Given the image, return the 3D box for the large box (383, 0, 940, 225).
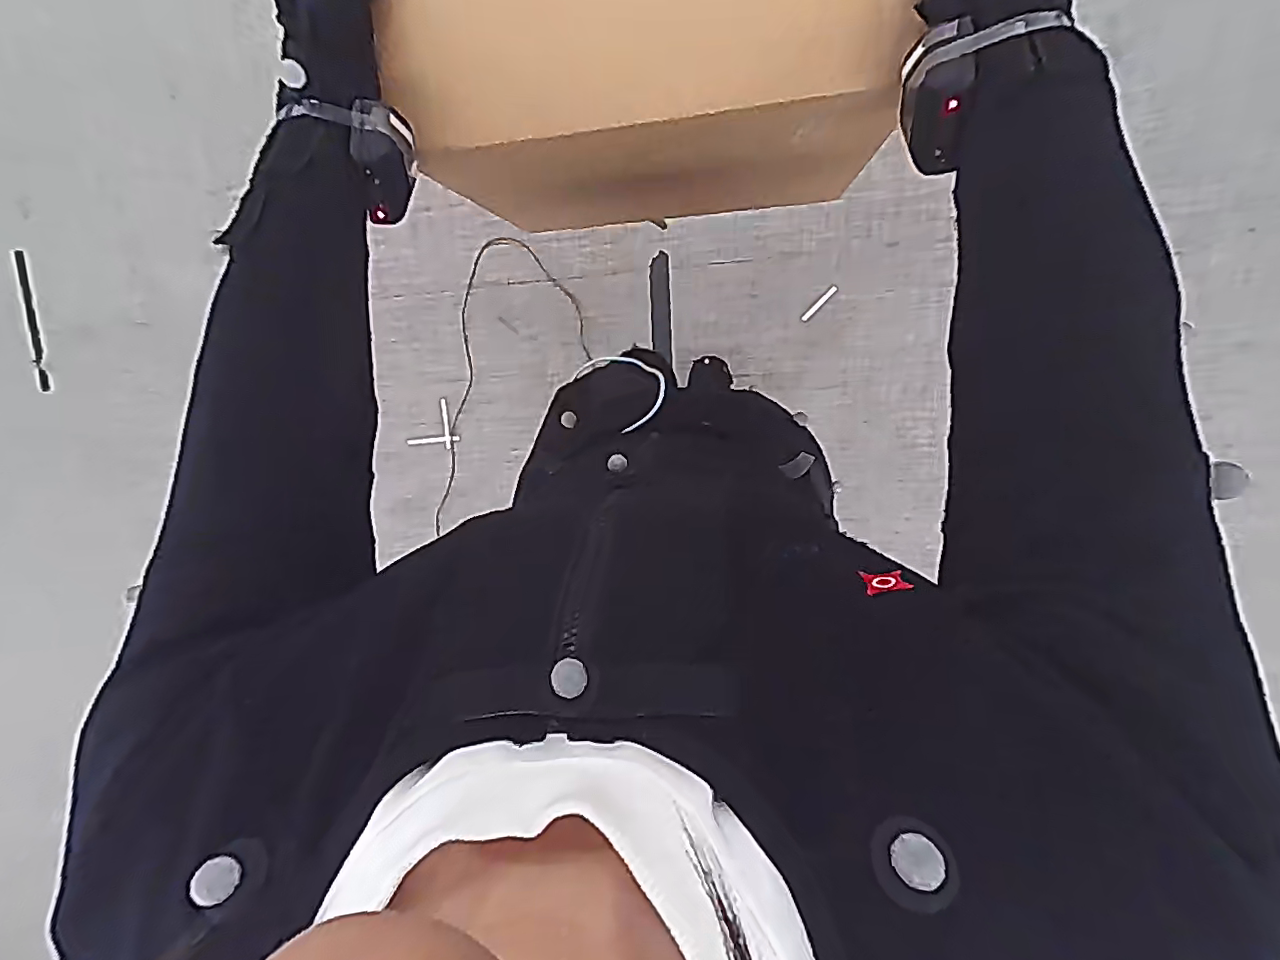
[{"bbox_3d":[0.014,-0.461,0.512,0.408,0.320,0.320,-3,104,8],"label":"large box"}]
